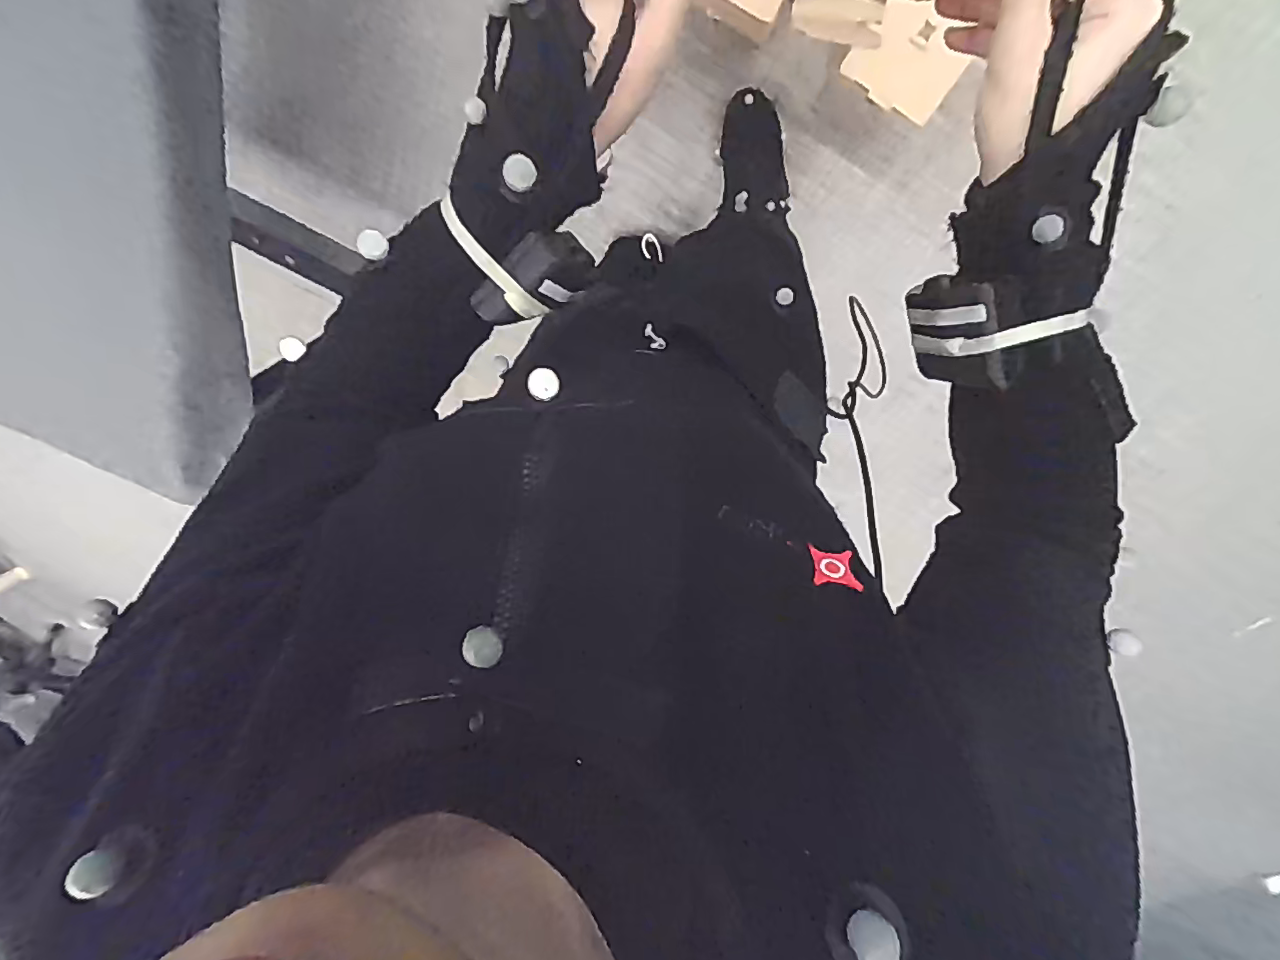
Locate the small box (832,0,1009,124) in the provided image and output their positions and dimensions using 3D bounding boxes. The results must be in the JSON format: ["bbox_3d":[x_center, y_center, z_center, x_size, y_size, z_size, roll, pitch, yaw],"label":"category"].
[{"bbox_3d":[0.424,-0.706,0.854,0.168,0.176,0.179,27,128,-11],"label":"small box"}]

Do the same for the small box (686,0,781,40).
[{"bbox_3d":[0.161,-0.814,0.824,0.168,0.176,0.179,24,127,-6],"label":"small box"}]

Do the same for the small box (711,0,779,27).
[{"bbox_3d":[0.137,-0.723,0.690,0.168,0.176,0.179,24,128,-6],"label":"small box"}]
